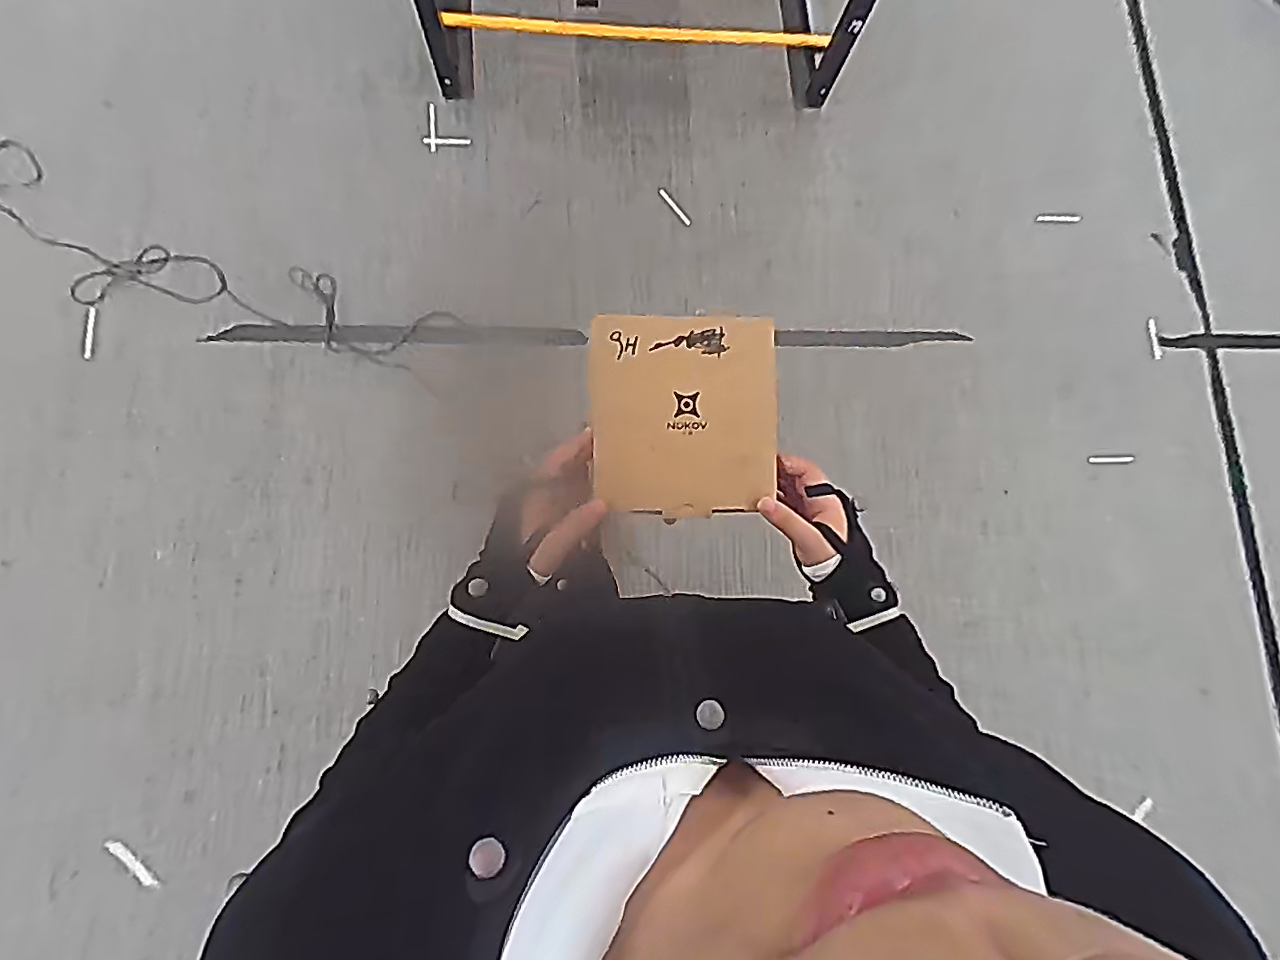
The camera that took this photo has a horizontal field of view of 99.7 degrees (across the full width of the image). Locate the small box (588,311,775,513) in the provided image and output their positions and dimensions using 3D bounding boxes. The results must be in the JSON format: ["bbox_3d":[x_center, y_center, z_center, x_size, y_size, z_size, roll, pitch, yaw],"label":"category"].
[{"bbox_3d":[0.031,-0.062,0.554,0.168,0.176,0.179,-1,91,-6],"label":"small box"}]
